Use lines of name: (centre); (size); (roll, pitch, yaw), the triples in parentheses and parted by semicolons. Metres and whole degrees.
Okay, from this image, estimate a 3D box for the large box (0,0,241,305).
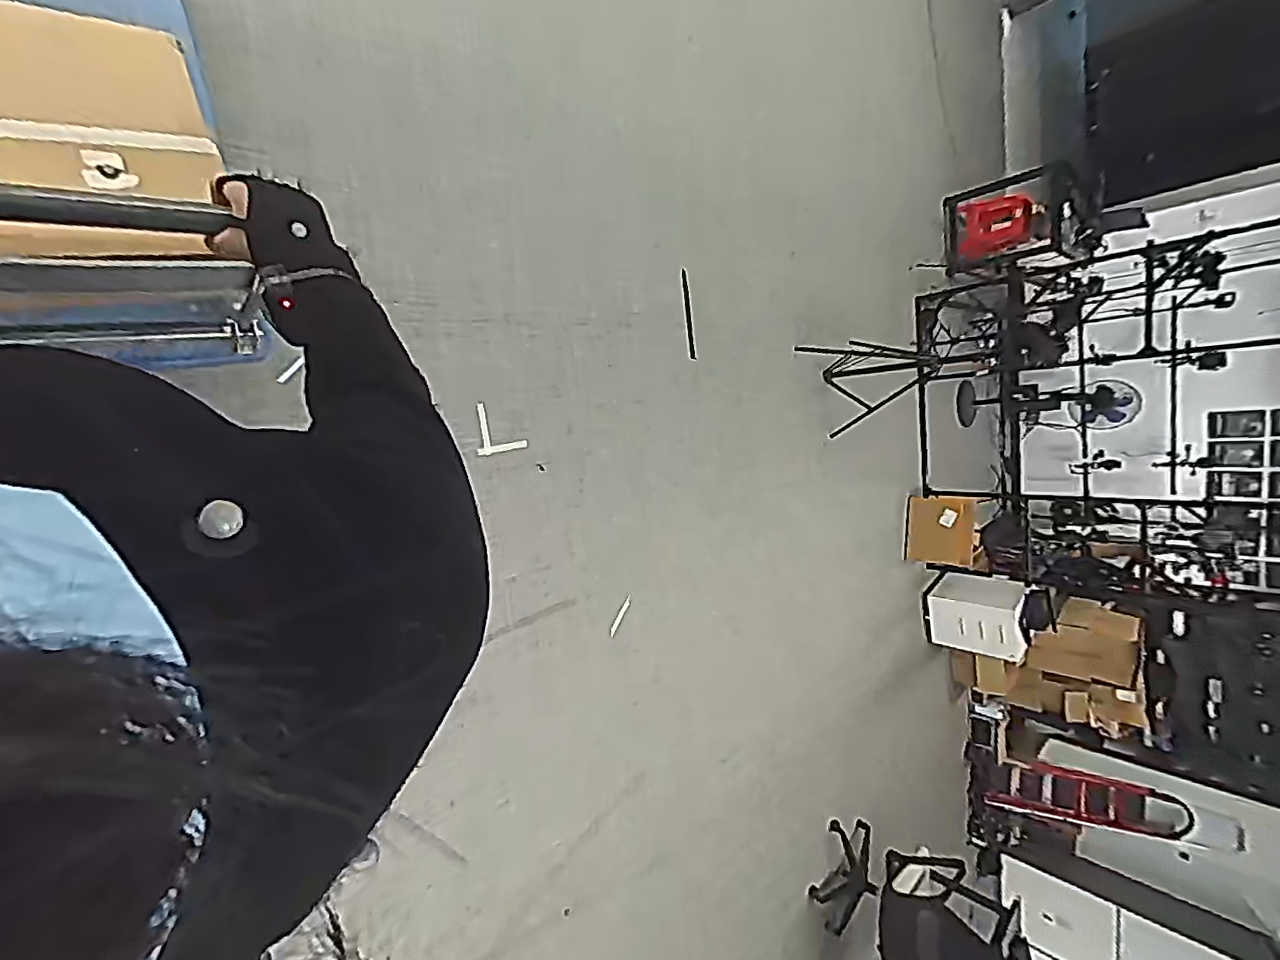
large box: (-0.906, -0.457, 0.805); (0.408, 0.320, 0.320); (-23, 108, -42)
